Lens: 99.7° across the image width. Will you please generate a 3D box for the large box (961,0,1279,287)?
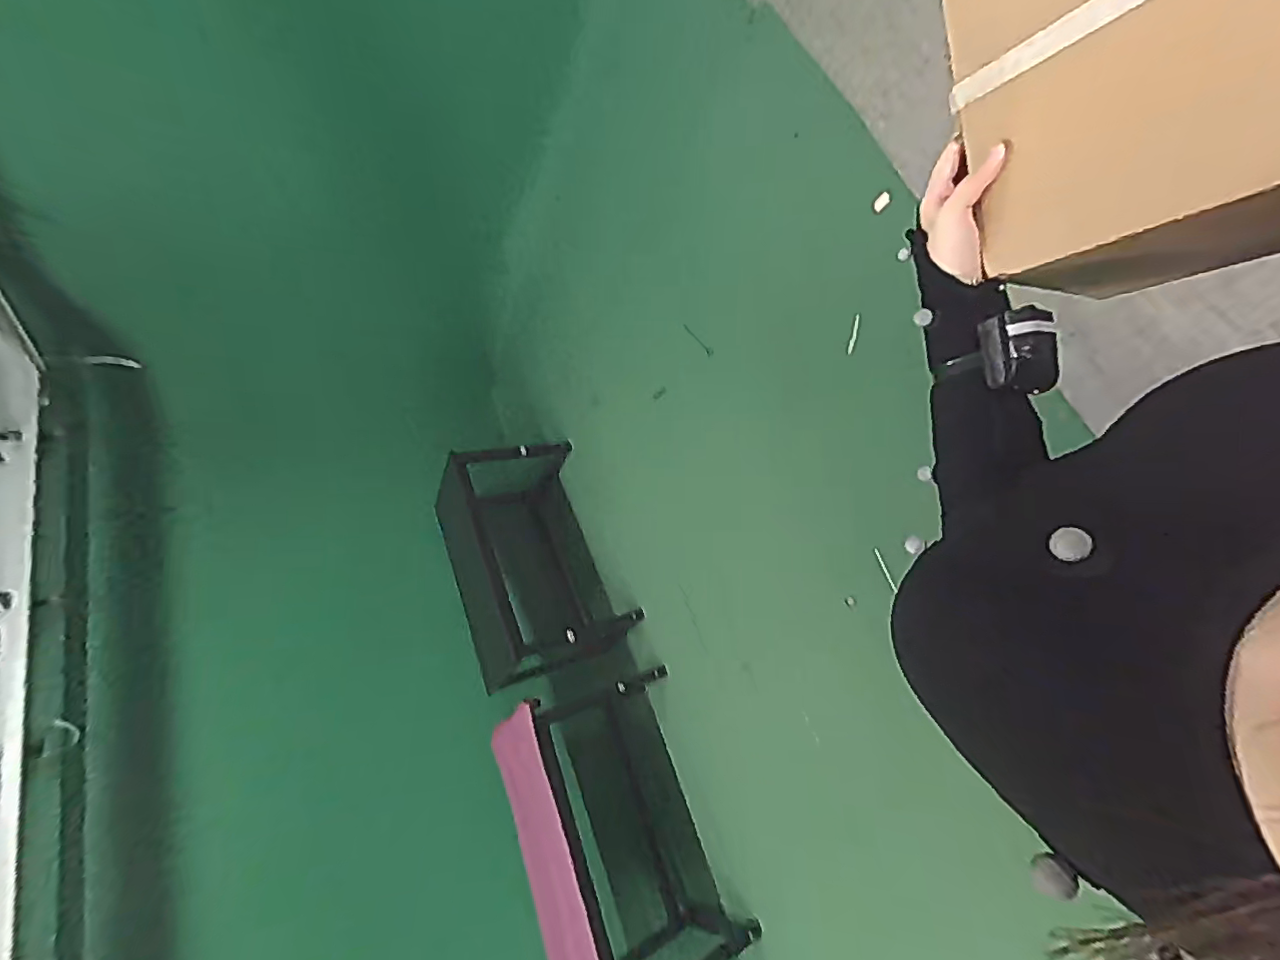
[{"bbox_3d":[0.510,-0.370,0.381,0.408,0.320,0.320,-8,93,52],"label":"large box"}]
